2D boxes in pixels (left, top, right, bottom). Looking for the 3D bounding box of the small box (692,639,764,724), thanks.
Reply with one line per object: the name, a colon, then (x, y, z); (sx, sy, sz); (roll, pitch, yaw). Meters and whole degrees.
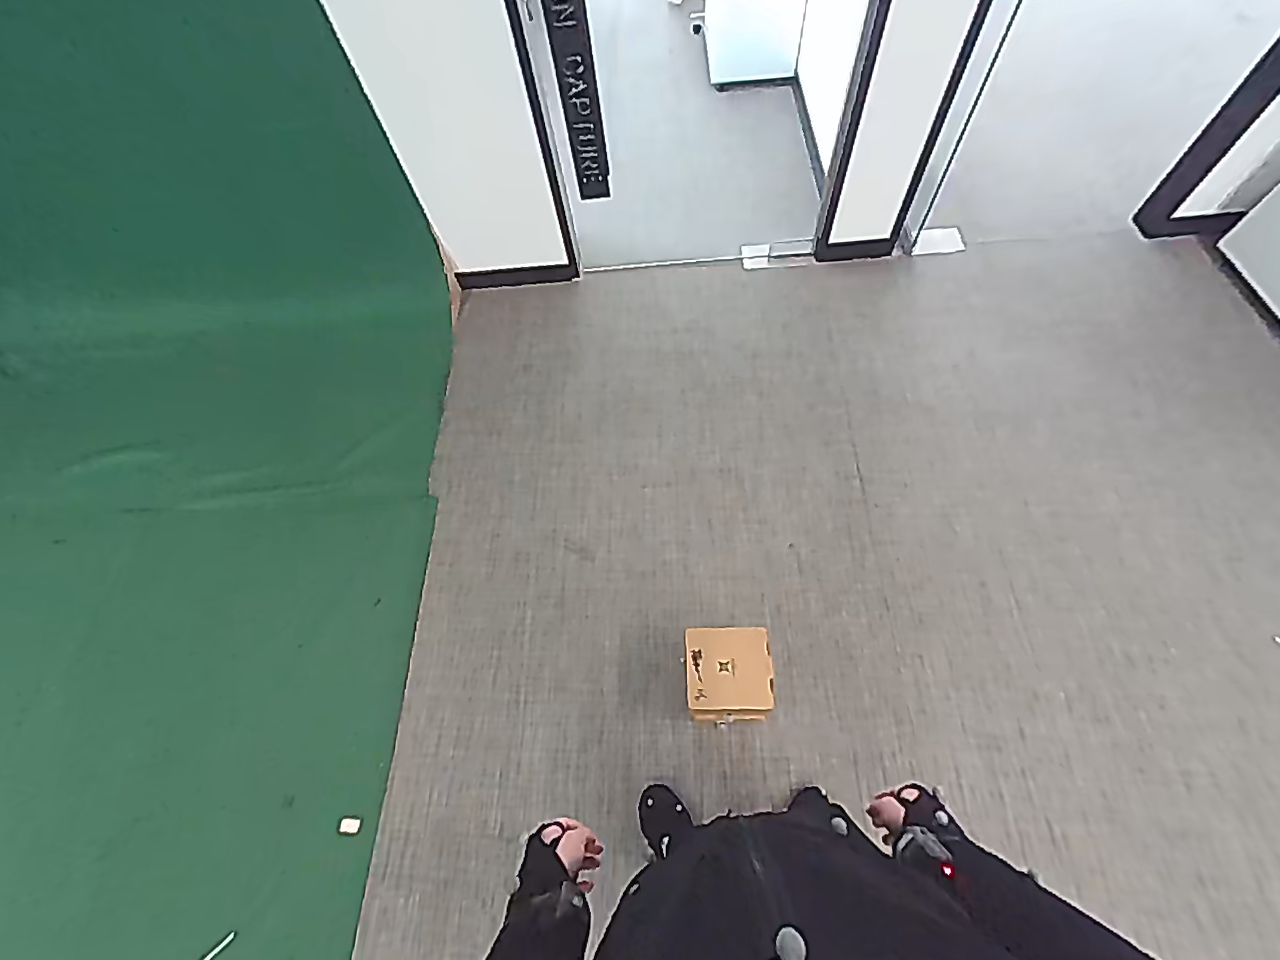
small box: (0.212, 0.499, 1.334); (0.168, 0.176, 0.179); (-1, 63, 7)
